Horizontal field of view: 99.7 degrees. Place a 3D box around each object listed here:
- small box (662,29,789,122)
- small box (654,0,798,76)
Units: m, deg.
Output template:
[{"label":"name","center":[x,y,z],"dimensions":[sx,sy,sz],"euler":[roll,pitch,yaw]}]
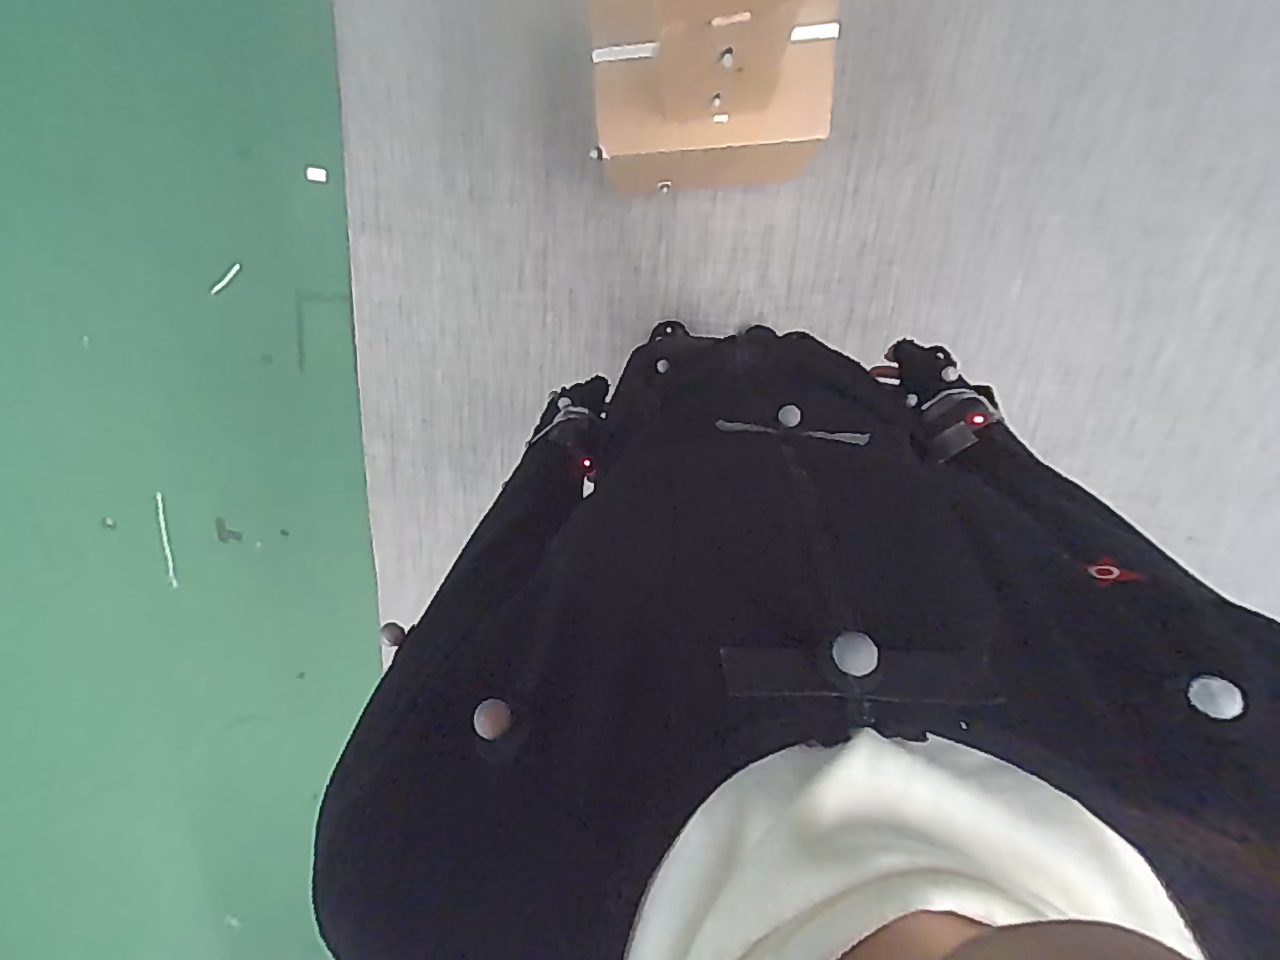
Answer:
[{"label":"small box","center":[0.121,-0.677,0.827],"dimensions":[0.179,0.176,0.168],"euler":[-6,107,7]},{"label":"small box","center":[0.101,-0.634,0.671],"dimensions":[0.168,0.176,0.179],"euler":[-4,107,7]}]
